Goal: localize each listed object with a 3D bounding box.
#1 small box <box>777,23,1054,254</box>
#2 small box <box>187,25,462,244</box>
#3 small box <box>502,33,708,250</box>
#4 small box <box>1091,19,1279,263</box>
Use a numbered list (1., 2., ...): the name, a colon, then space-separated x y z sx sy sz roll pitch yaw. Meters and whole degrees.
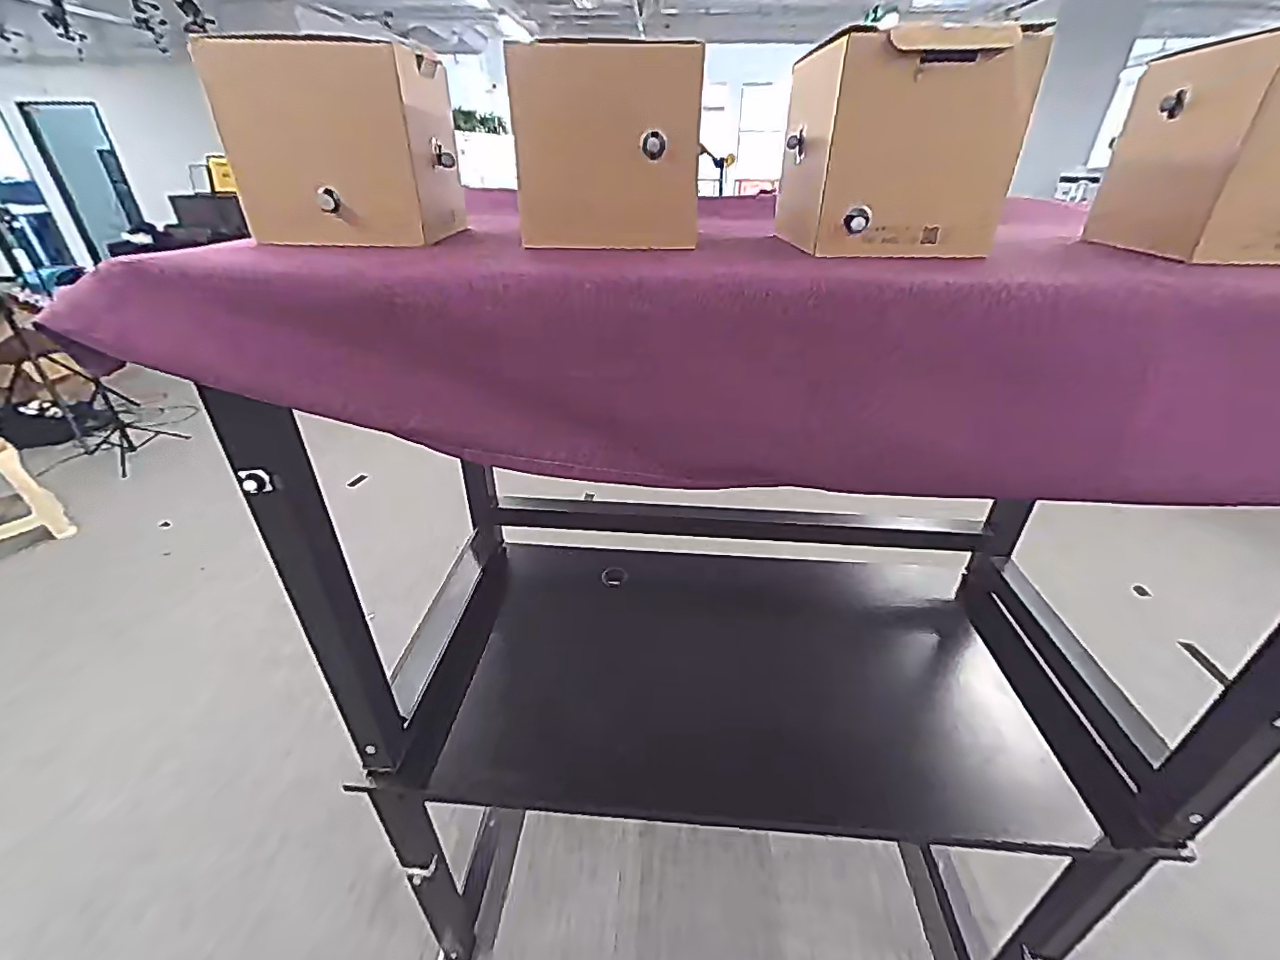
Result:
1. small box: 0.241 -0.320 0.529 0.168 0.176 0.179 0 30 -1
2. small box: -0.298 -0.347 0.564 0.179 0.176 0.168 1 30 -2
3. small box: -0.029 -0.341 0.563 0.179 0.176 0.168 1 30 1
4. small box: 0.570 -0.298 0.492 0.168 0.176 0.179 4 30 7
